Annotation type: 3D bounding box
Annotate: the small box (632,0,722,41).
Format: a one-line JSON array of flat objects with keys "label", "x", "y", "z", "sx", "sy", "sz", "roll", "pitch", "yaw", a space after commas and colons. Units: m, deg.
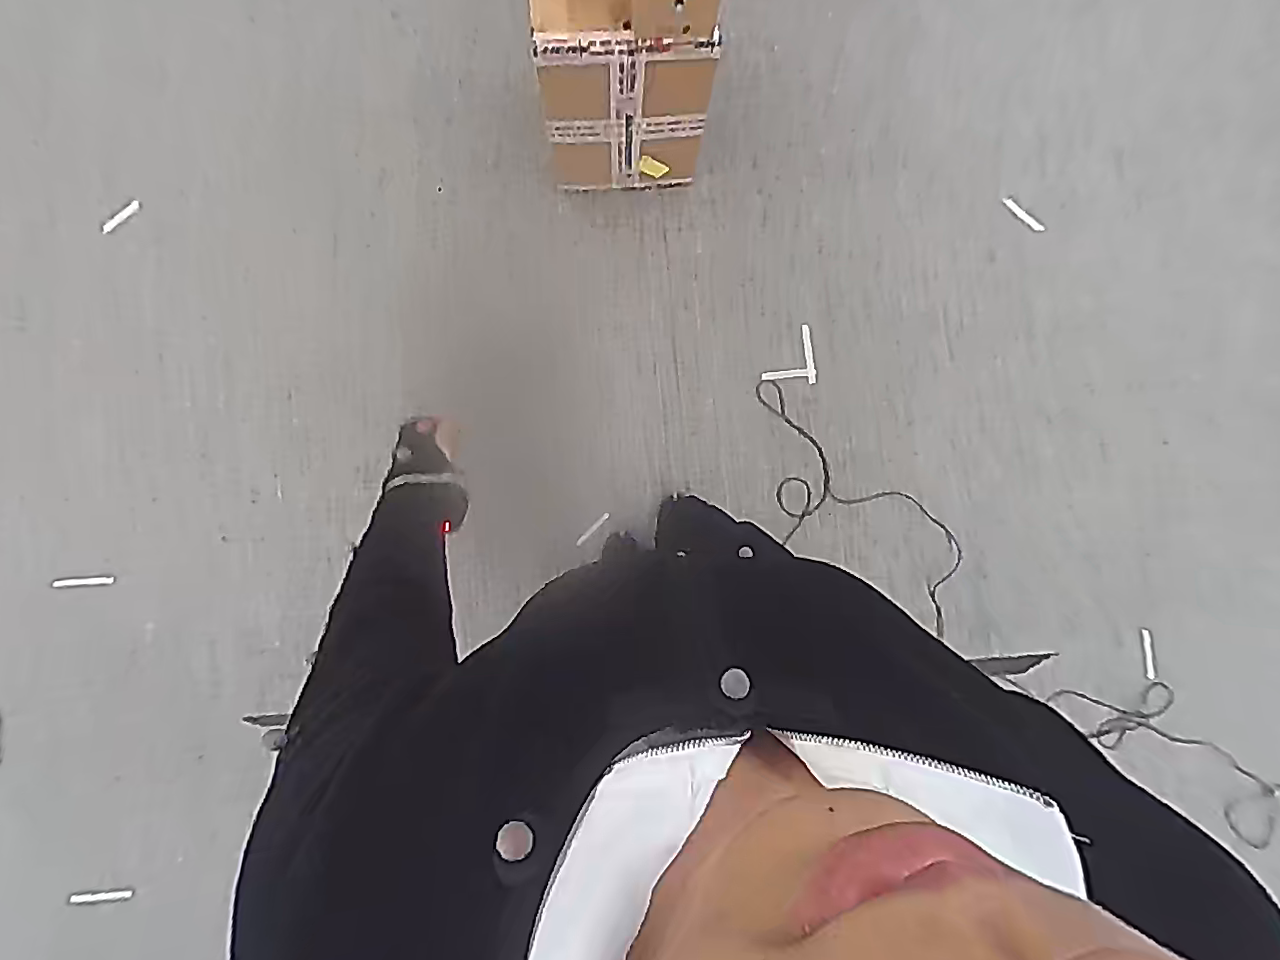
[{"label": "small box", "x": 0.071, "y": -0.983, "z": 1.030, "sx": 0.168, "sy": 0.176, "sz": 0.179, "roll": -4, "pitch": 88, "yaw": -4}]
